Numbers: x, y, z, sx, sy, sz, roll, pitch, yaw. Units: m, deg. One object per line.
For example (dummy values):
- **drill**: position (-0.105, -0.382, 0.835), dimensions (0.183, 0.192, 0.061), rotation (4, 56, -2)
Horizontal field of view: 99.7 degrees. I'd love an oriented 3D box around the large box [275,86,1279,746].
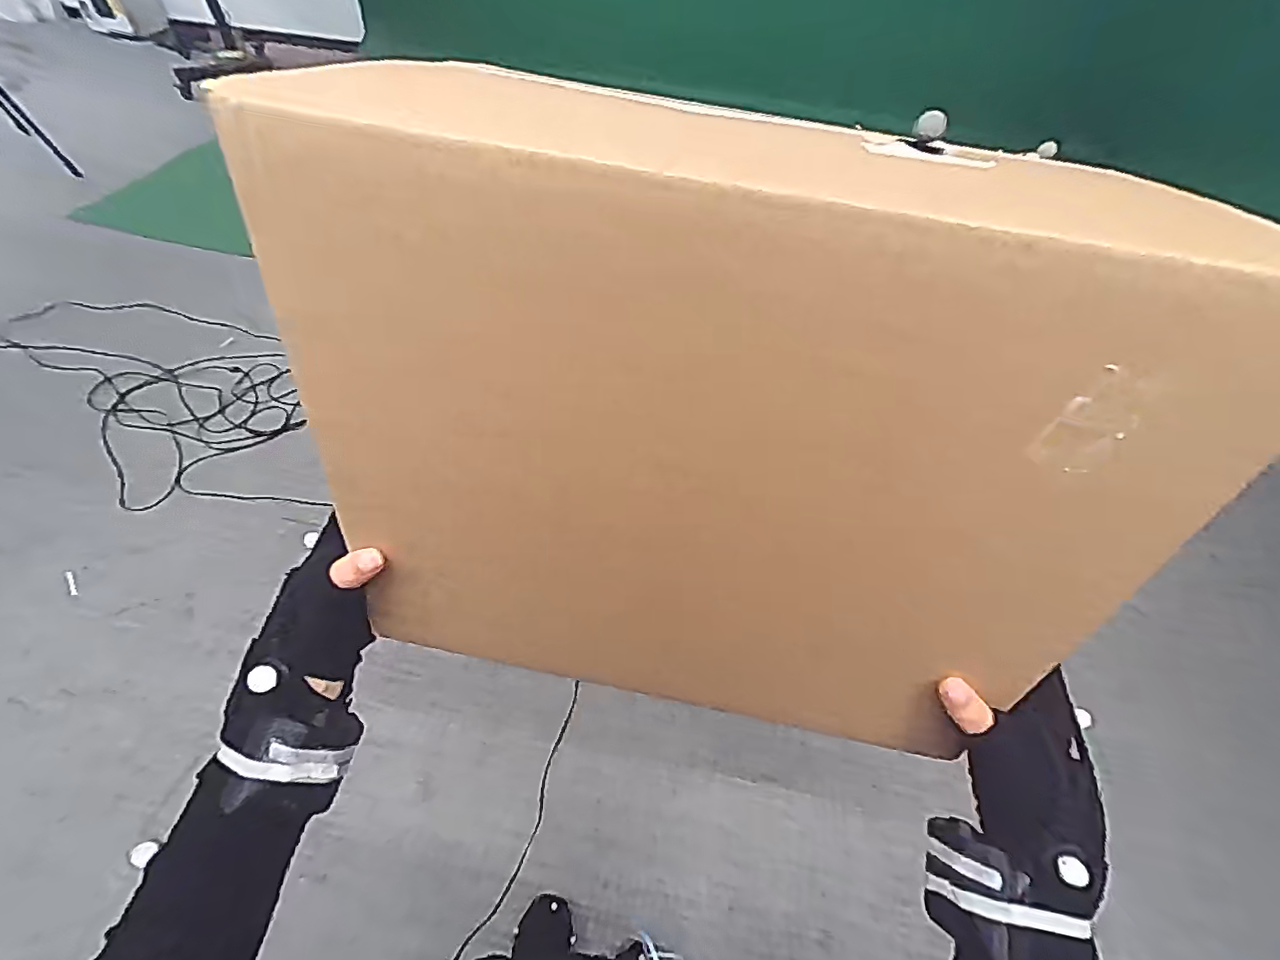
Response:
- **large box**: position (0.059, -0.061, 0.395), dimensions (0.408, 0.320, 0.320), rotation (12, 39, 2)
